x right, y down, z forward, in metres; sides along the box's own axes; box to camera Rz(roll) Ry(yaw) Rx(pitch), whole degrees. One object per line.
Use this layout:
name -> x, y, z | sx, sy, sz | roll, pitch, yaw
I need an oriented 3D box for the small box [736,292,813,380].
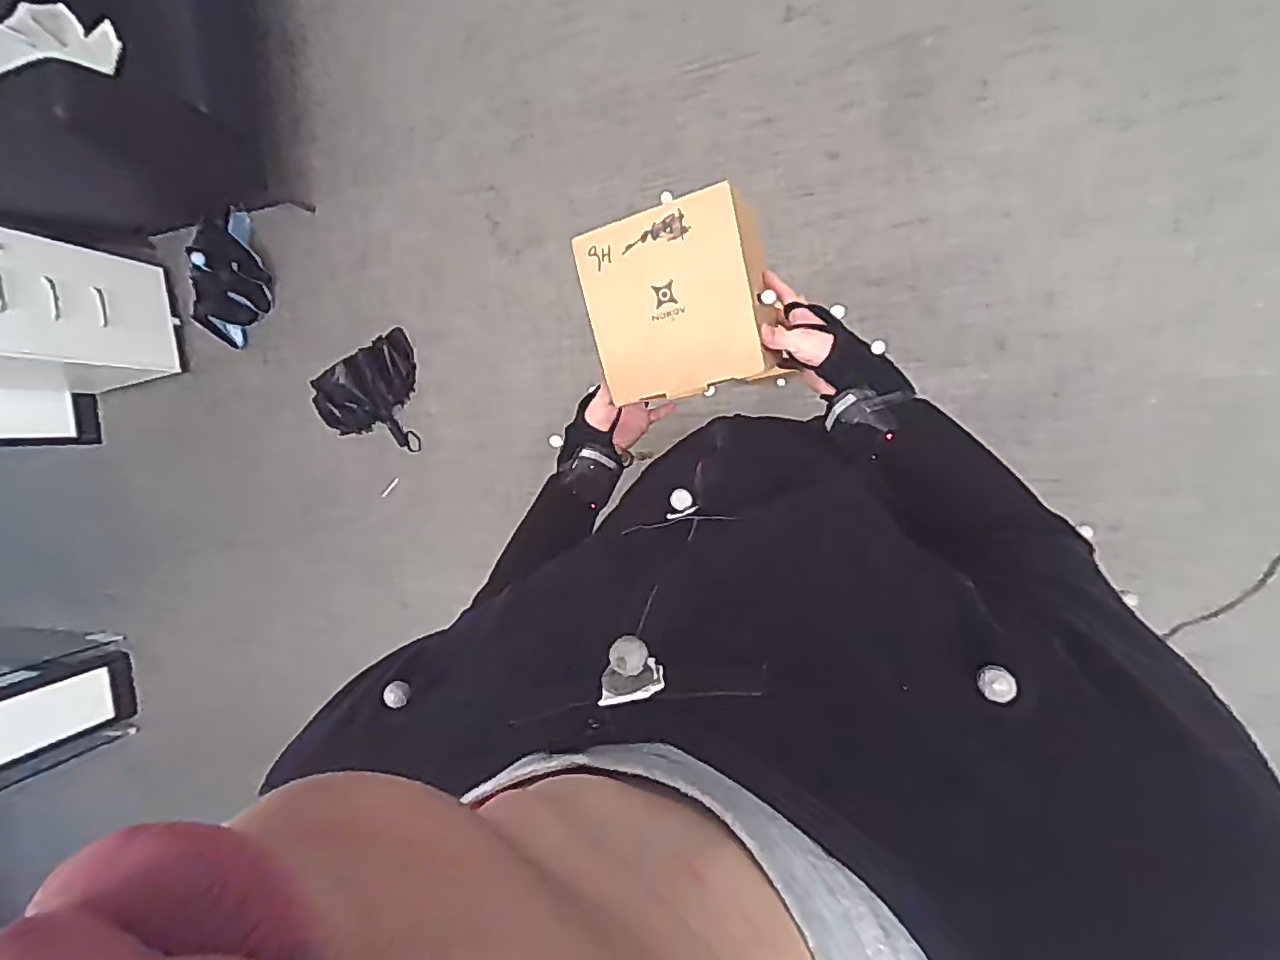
small box -> 0.345, -0.359, 1.379 | 0.168, 0.176, 0.179 | -7, 94, 19
